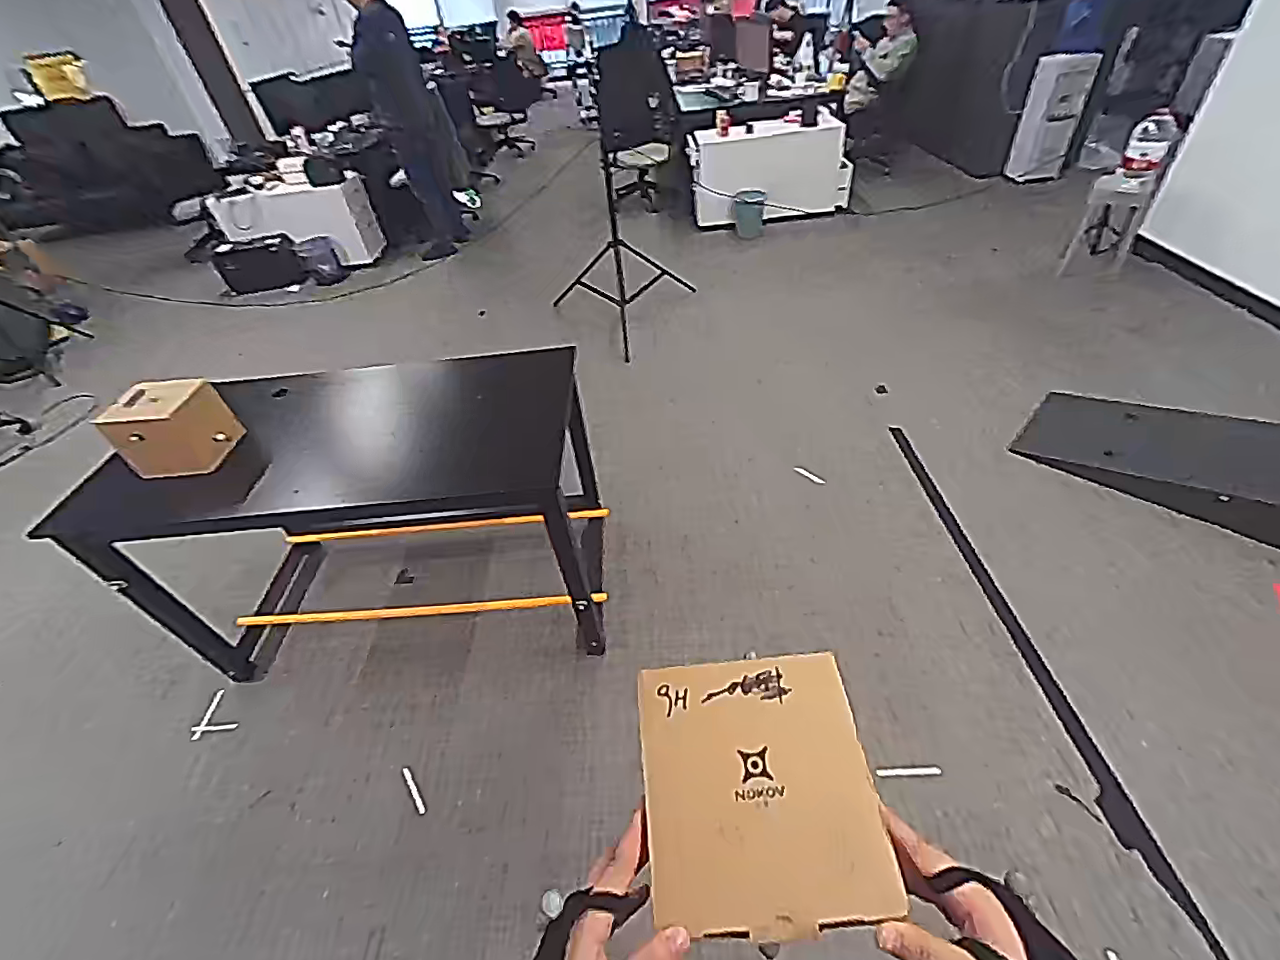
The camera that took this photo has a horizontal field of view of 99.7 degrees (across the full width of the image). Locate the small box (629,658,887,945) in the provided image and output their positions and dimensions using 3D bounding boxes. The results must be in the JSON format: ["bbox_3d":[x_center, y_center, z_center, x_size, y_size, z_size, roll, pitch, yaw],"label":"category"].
[{"bbox_3d":[0.083,0.273,0.468,0.168,0.176,0.179,-6,53,0],"label":"small box"}]

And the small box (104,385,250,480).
[{"bbox_3d":[-1.124,-0.113,1.330,0.179,0.176,0.168,-5,43,2],"label":"small box"}]
